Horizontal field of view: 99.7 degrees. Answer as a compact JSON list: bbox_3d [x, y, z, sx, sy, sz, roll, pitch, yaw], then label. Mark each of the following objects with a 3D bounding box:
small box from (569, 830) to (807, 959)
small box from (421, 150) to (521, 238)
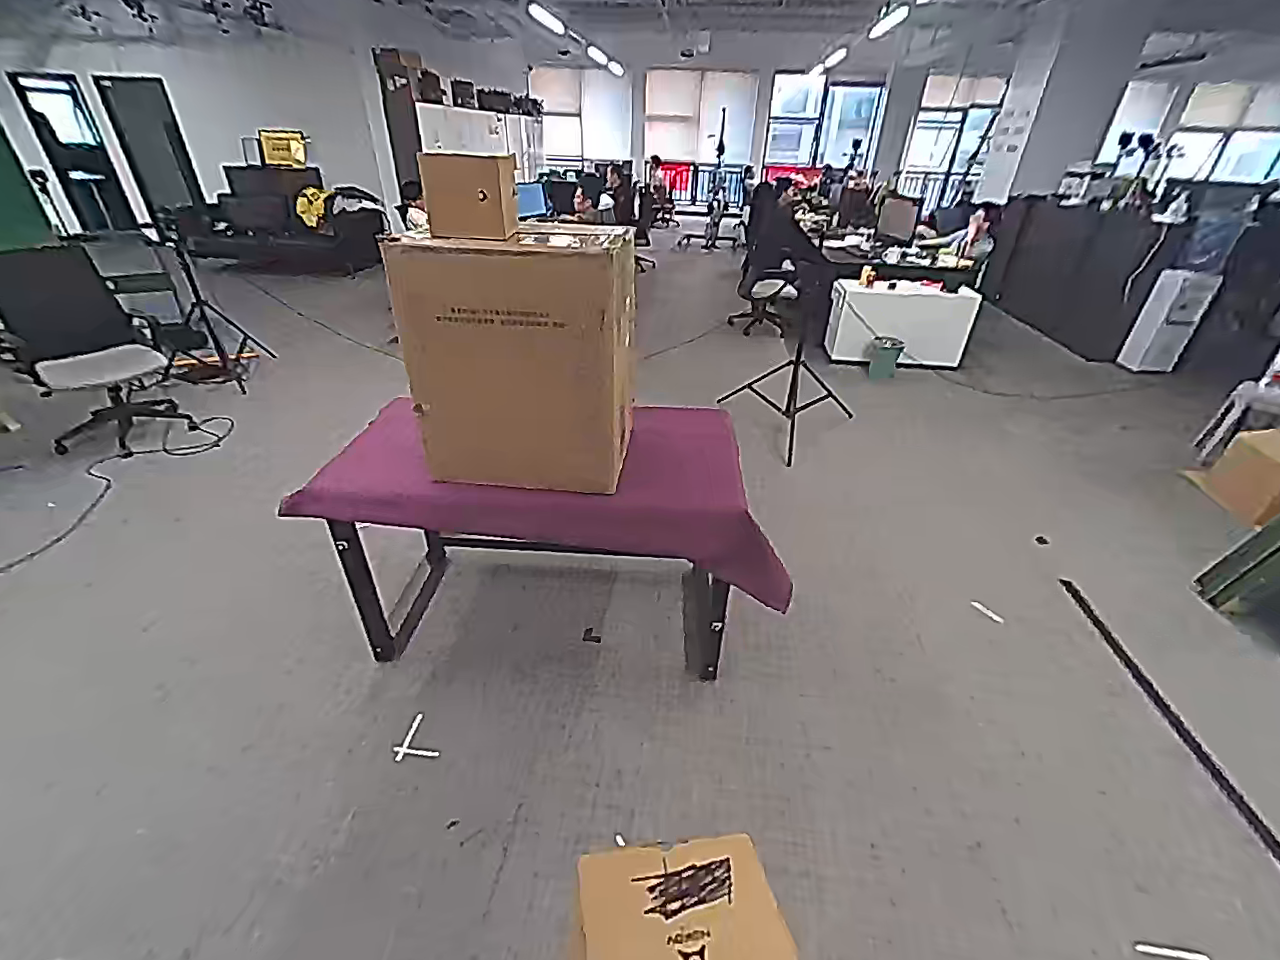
[{"bbox_3d":[0.034,0.430,0.435,0.168,0.176,0.179,1,19,-14],"label":"small box"},{"bbox_3d":[-0.382,-0.665,1.259,0.179,0.176,0.168,1,31,-1],"label":"small box"}]
